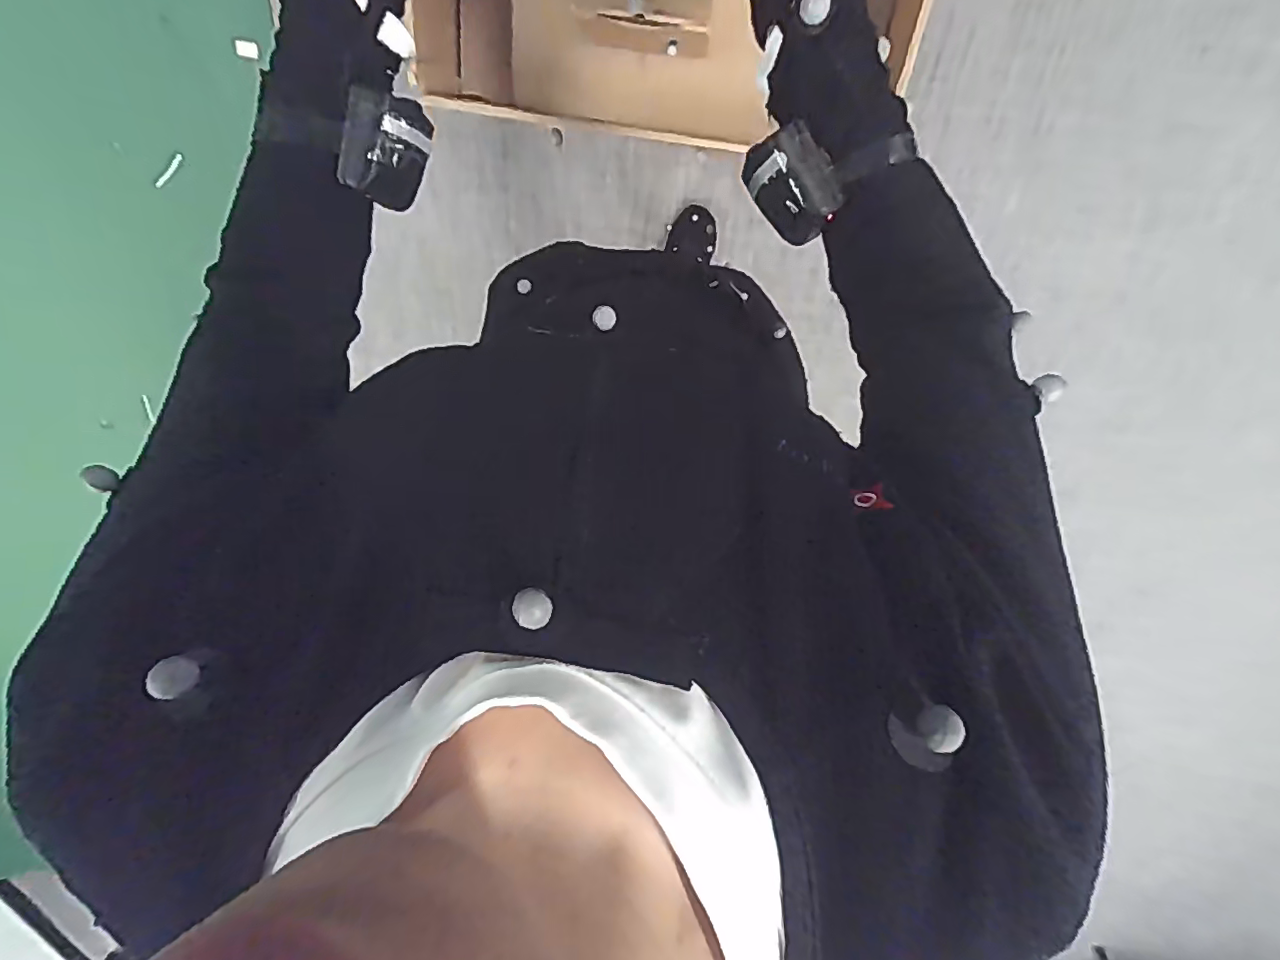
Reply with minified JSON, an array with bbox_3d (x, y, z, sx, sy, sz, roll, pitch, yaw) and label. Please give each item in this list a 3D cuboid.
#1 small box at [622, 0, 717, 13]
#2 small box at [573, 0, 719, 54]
[{"bbox_3d":[0.008,-0.571,0.504,0.168,0.176,0.179,9,121,1],"label":"small box"},{"bbox_3d":[0.021,-0.644,0.651,0.168,0.176,0.179,8,118,1],"label":"small box"}]
